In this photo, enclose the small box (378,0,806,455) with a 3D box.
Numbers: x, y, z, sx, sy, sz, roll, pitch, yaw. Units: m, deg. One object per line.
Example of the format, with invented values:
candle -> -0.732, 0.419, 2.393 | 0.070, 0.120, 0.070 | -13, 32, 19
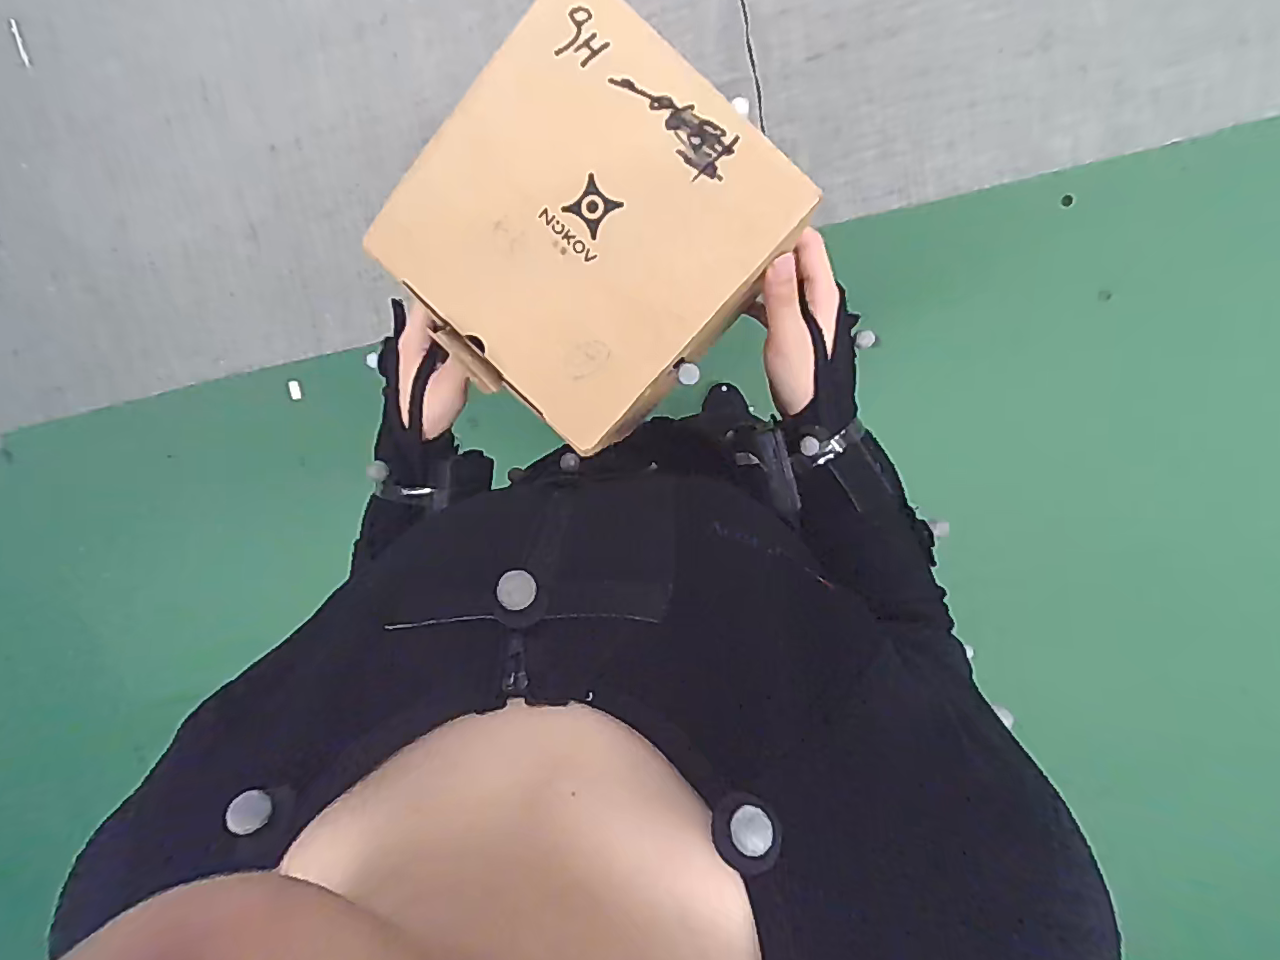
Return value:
small box -> -0.020, -0.139, 0.360 | 0.168, 0.176, 0.179 | 43, 100, -1
